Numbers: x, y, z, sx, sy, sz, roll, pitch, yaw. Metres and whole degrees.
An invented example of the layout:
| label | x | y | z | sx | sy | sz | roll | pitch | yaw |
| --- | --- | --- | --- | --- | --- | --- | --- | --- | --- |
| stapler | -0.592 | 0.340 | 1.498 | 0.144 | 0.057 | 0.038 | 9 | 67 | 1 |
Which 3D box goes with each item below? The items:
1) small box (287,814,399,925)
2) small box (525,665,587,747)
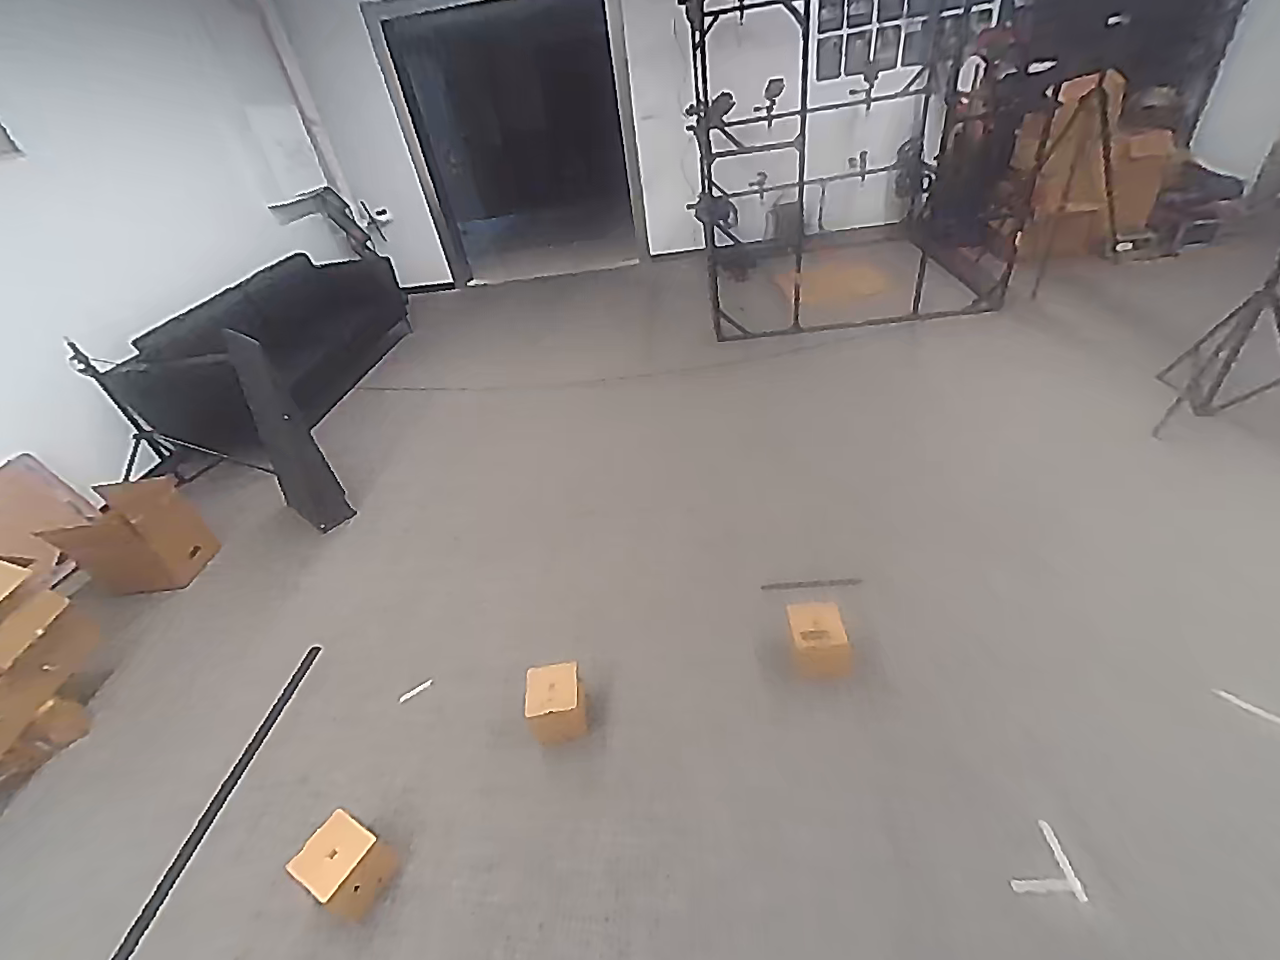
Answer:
| label | x | y | z | sx | sy | sz | roll | pitch | yaw |
| --- | --- | --- | --- | --- | --- | --- | --- | --- | --- |
| small box | -0.793 | 1.057 | 1.462 | 0.179 | 0.176 | 0.168 | 12 | 41 | 28 |
| small box | -0.270 | 0.739 | 1.770 | 0.168 | 0.176 | 0.179 | -10 | 36 | -1 |
